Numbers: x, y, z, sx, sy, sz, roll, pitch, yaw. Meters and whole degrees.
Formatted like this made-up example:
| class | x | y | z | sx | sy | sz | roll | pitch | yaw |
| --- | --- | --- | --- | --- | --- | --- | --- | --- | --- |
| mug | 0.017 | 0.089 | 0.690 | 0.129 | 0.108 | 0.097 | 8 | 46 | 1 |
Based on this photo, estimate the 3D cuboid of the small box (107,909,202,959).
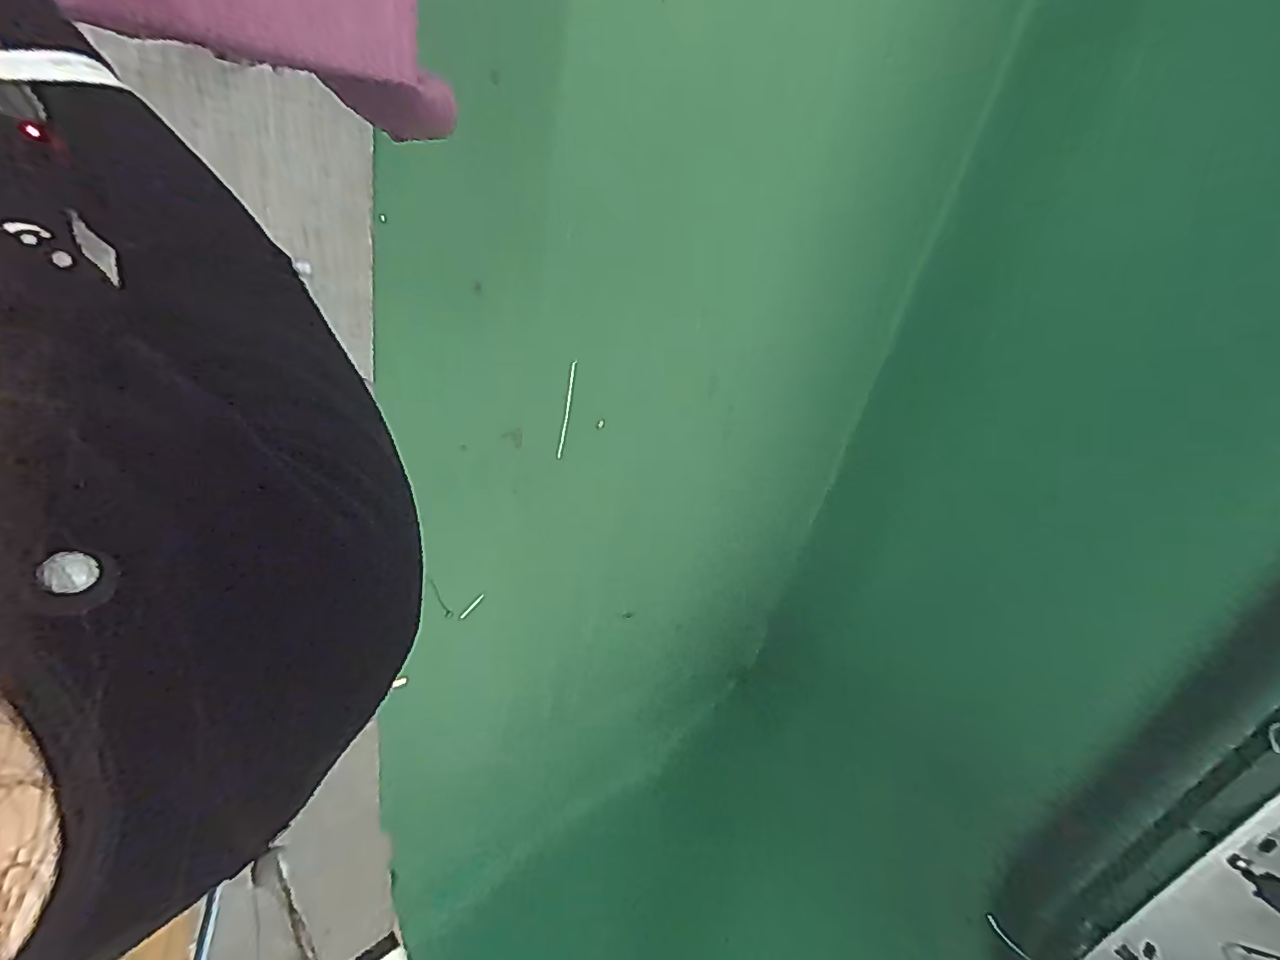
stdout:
| class | x | y | z | sx | sy | sz | roll | pitch | yaw |
| --- | --- | --- | --- | --- | --- | --- | --- | --- | --- |
| small box | -1.222 | 1.244 | 1.368 | 0.168 | 0.176 | 0.179 | -10 | 126 | -43 |
